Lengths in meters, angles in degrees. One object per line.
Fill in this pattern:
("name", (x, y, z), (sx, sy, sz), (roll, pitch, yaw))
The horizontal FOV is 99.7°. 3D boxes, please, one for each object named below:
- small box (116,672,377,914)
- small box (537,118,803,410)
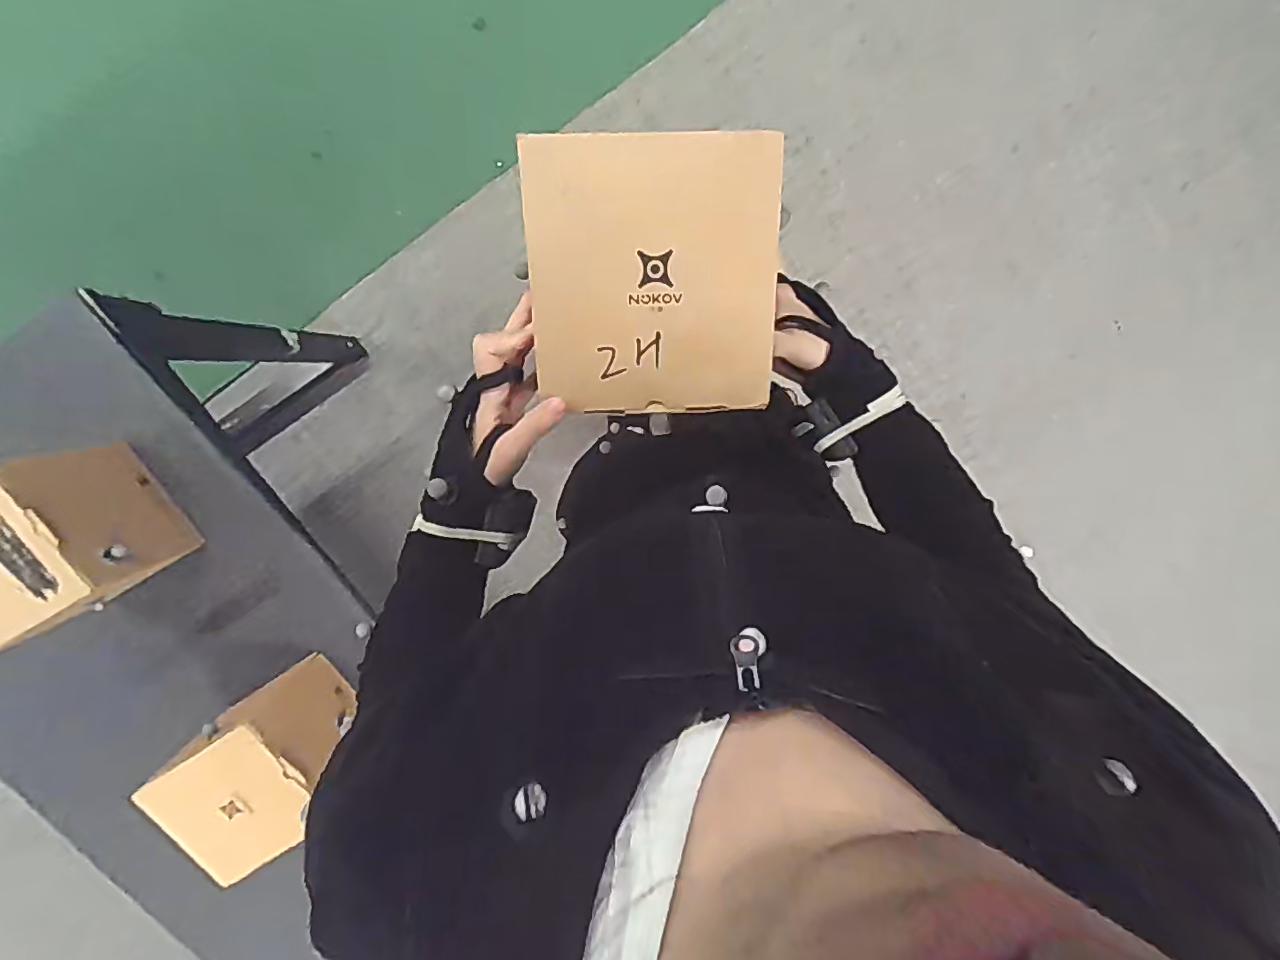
("small box", (-0.487, 0.391, 0.702), (0.179, 0.176, 0.168), (-33, 100, 2))
("small box", (0.015, -0.156, 0.424), (0.168, 0.176, 0.179), (-2, 108, -2))
